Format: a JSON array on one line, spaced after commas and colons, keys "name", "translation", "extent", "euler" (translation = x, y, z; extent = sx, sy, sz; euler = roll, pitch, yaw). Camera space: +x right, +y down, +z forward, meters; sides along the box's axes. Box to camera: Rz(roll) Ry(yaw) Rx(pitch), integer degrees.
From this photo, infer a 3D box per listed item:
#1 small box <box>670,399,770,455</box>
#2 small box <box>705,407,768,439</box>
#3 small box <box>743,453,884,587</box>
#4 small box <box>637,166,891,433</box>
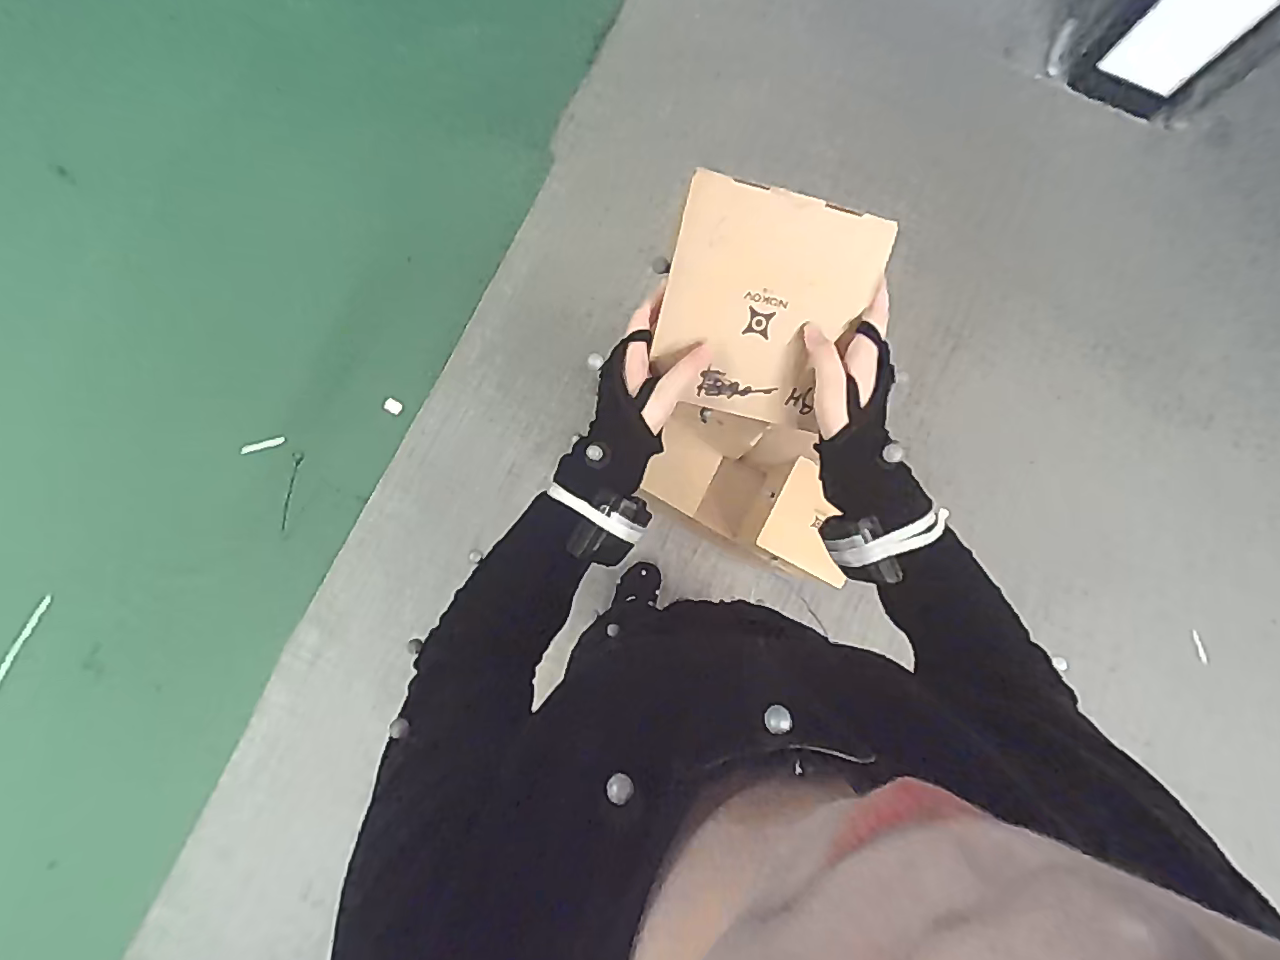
[{"name": "small box", "translation": [0.171, -0.164, 1.018], "extent": [0.179, 0.176, 0.168], "euler": [36, 84, 2]}, {"name": "small box", "translation": [0.174, -0.188, 0.854], "extent": [0.168, 0.176, 0.179], "euler": [38, 82, 3]}, {"name": "small box", "translation": [0.303, 0.075, 0.991], "extent": [0.168, 0.176, 0.179], "euler": [29, 83, 2]}, {"name": "small box", "translation": [0.095, -0.165, 0.509], "extent": [0.168, 0.176, 0.179], "euler": [13, 111, -4]}]
